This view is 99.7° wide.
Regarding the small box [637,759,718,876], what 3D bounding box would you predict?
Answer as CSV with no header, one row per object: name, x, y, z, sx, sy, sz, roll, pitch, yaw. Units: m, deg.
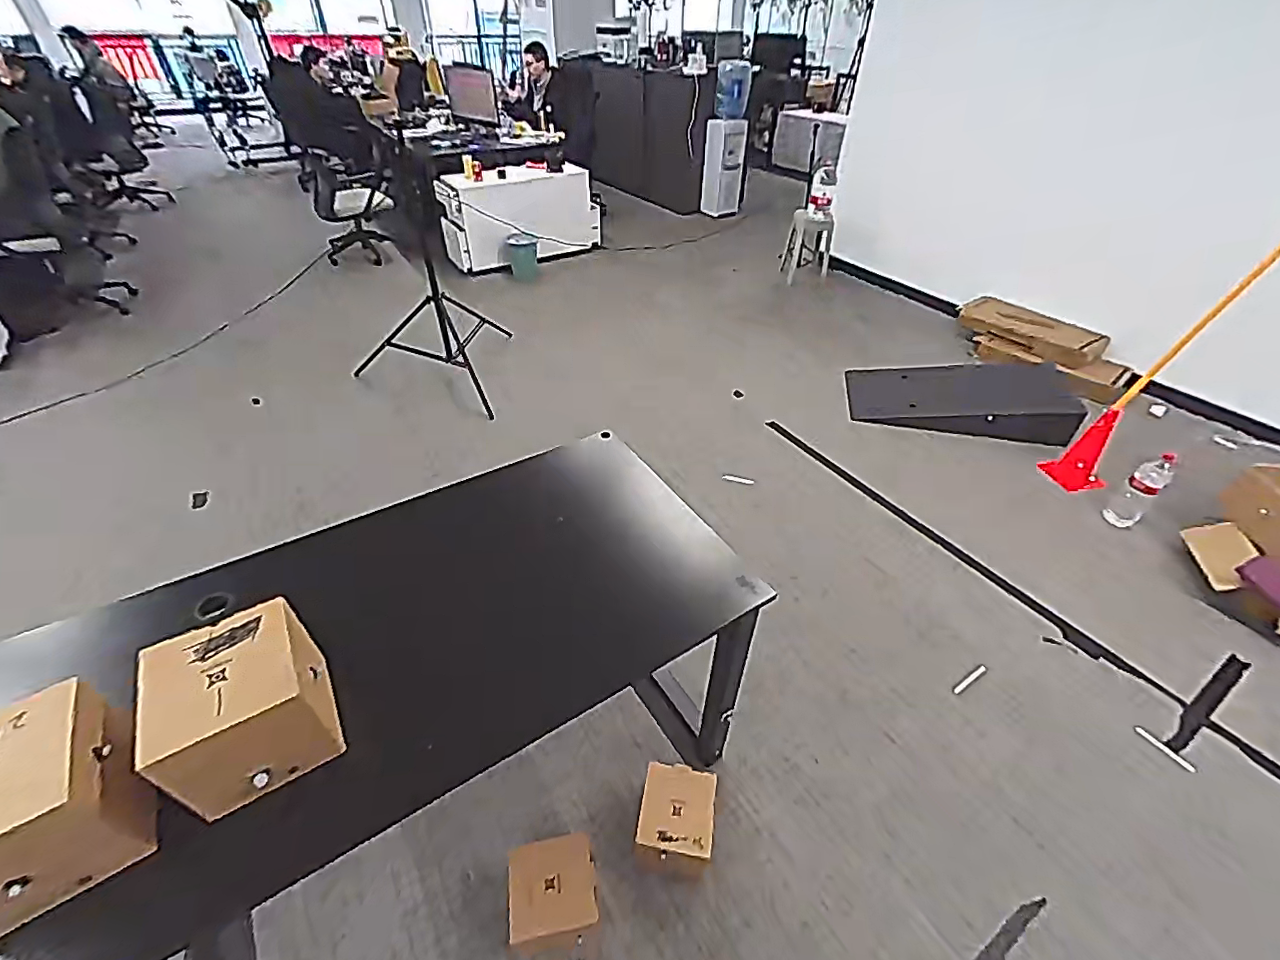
small box,0.087,0.798,1.280,0.168,0.176,0.179,7,42,8

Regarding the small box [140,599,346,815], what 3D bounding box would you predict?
small box,-0.524,0.303,0.729,0.168,0.176,0.179,-23,47,-25

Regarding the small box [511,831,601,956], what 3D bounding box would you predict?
small box,-0.179,0.894,1.170,0.179,0.176,0.168,-8,41,-9
